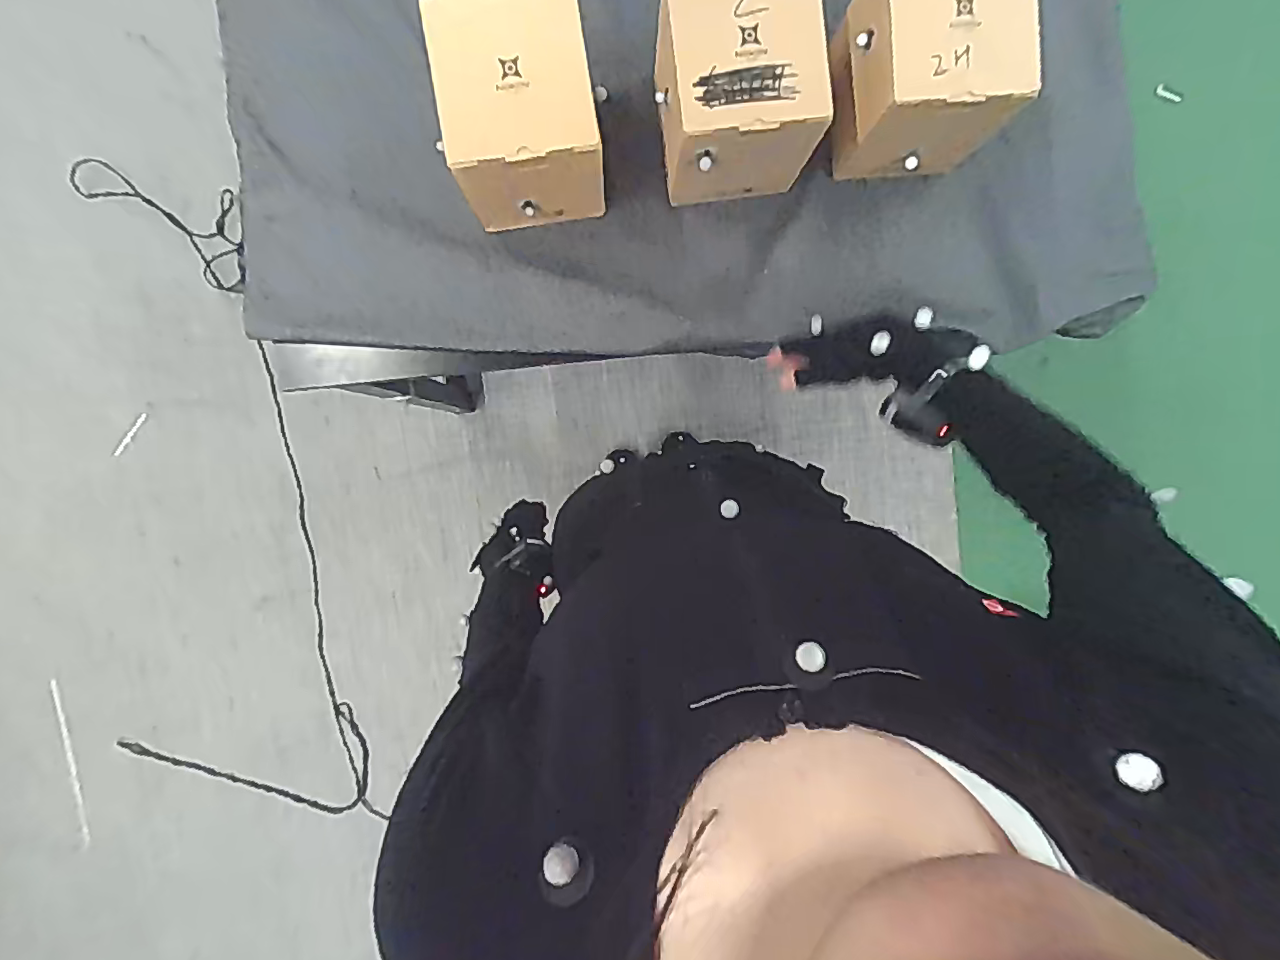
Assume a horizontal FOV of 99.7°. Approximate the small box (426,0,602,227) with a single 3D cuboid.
[{"bbox_3d":[-0.139,-0.438,0.658,0.168,0.176,0.179,-9,94,-2],"label":"small box"}]
